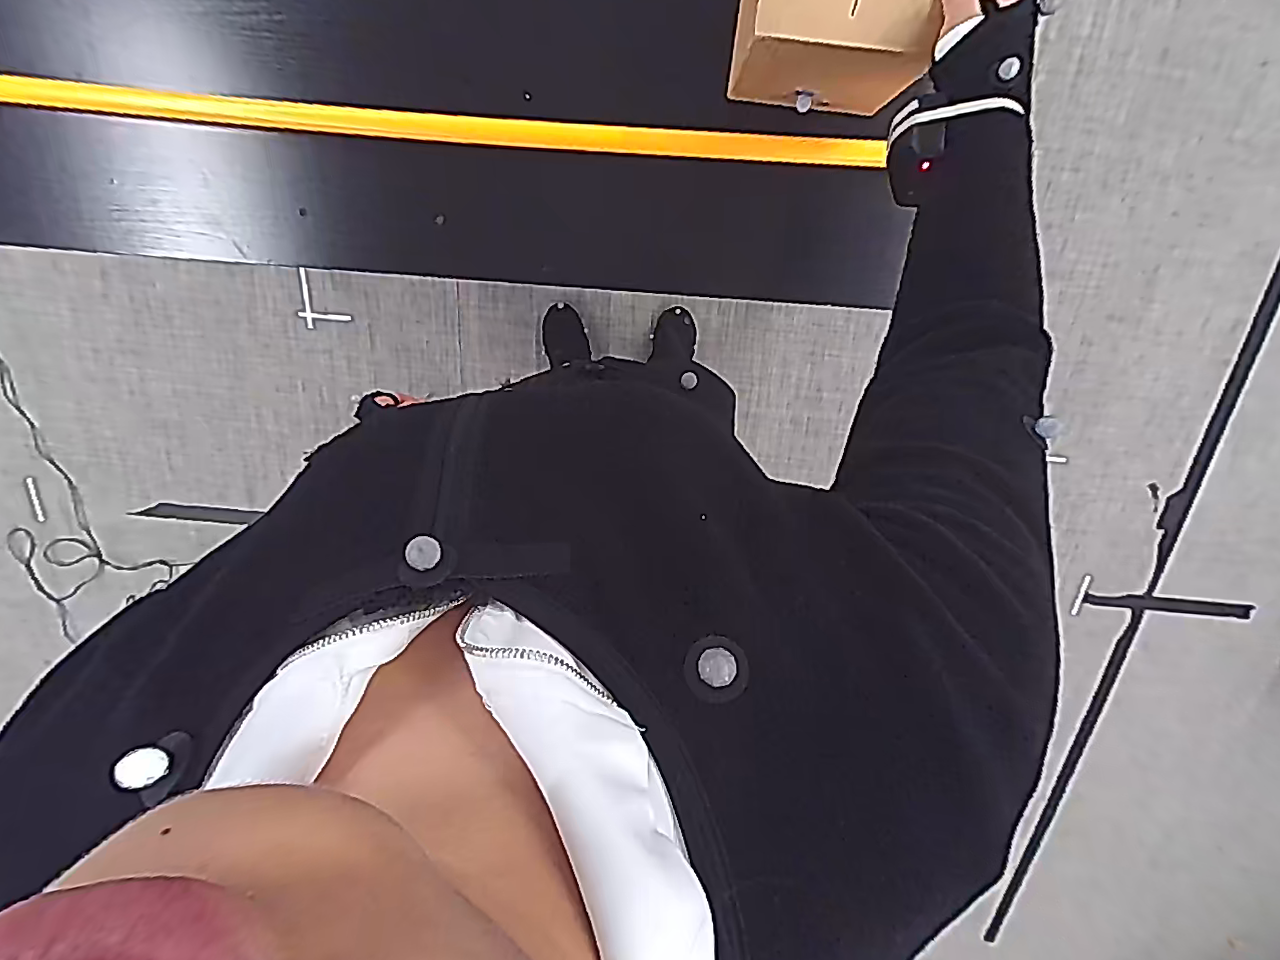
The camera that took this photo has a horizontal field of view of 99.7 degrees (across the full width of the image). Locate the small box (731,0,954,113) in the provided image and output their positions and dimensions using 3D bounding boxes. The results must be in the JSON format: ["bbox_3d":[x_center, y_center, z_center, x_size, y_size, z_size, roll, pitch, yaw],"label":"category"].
[{"bbox_3d":[0.187,-0.479,0.508,0.168,0.176,0.179,6,110,-1],"label":"small box"}]
